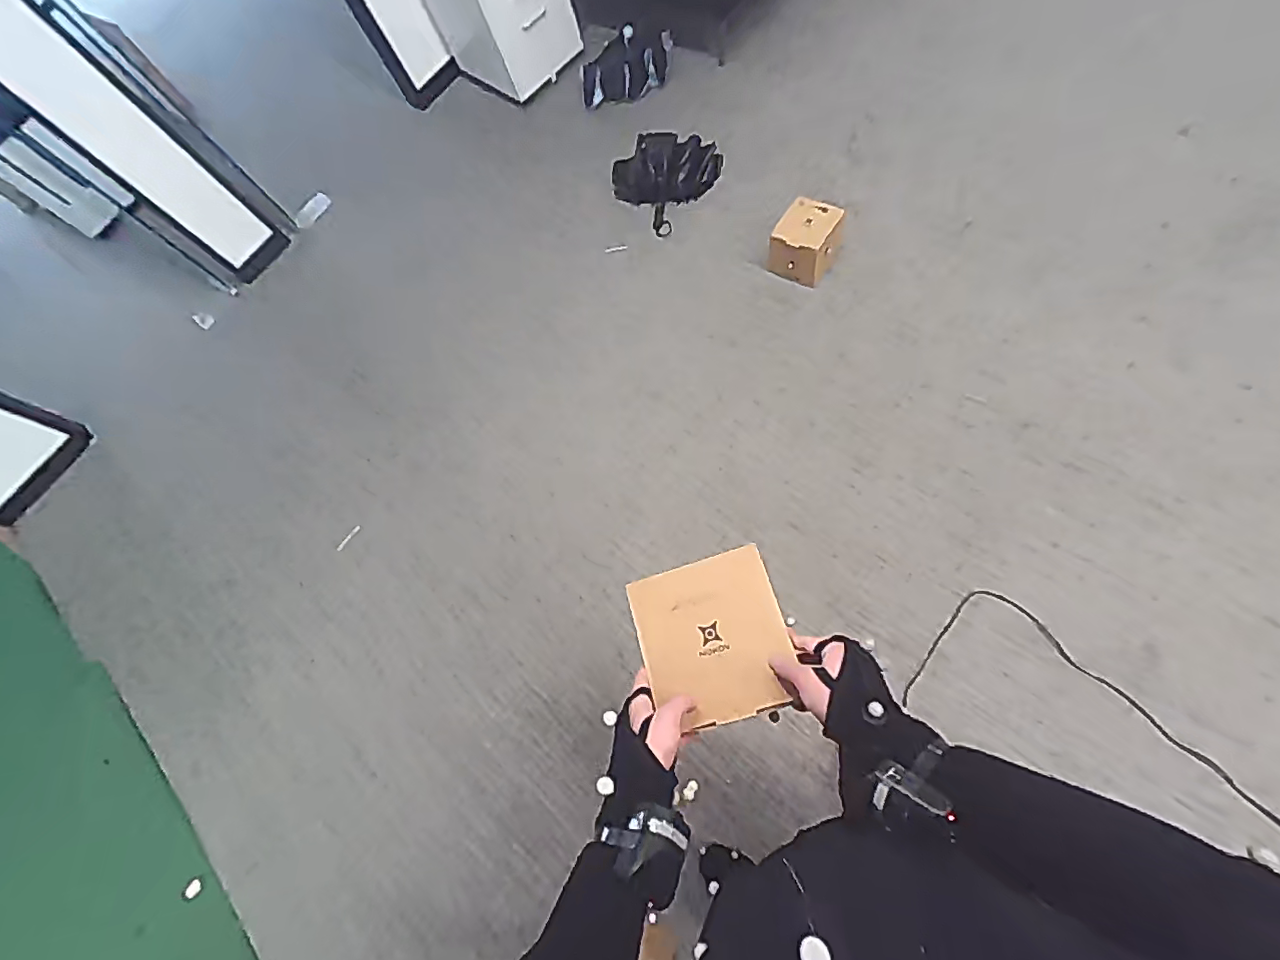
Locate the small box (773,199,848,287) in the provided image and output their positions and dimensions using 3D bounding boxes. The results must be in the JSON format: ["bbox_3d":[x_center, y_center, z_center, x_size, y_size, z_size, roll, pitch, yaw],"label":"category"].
[{"bbox_3d":[0.549,-0.758,1.742,0.168,0.176,0.179,31,80,24],"label":"small box"}]

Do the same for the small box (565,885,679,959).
[{"bbox_3d":[-0.036,1.033,1.169,0.179,0.176,0.168,-46,64,-7],"label":"small box"}]

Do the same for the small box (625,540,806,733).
[{"bbox_3d":[0.099,0.198,0.675,0.168,0.176,0.179,-20,64,8],"label":"small box"}]
